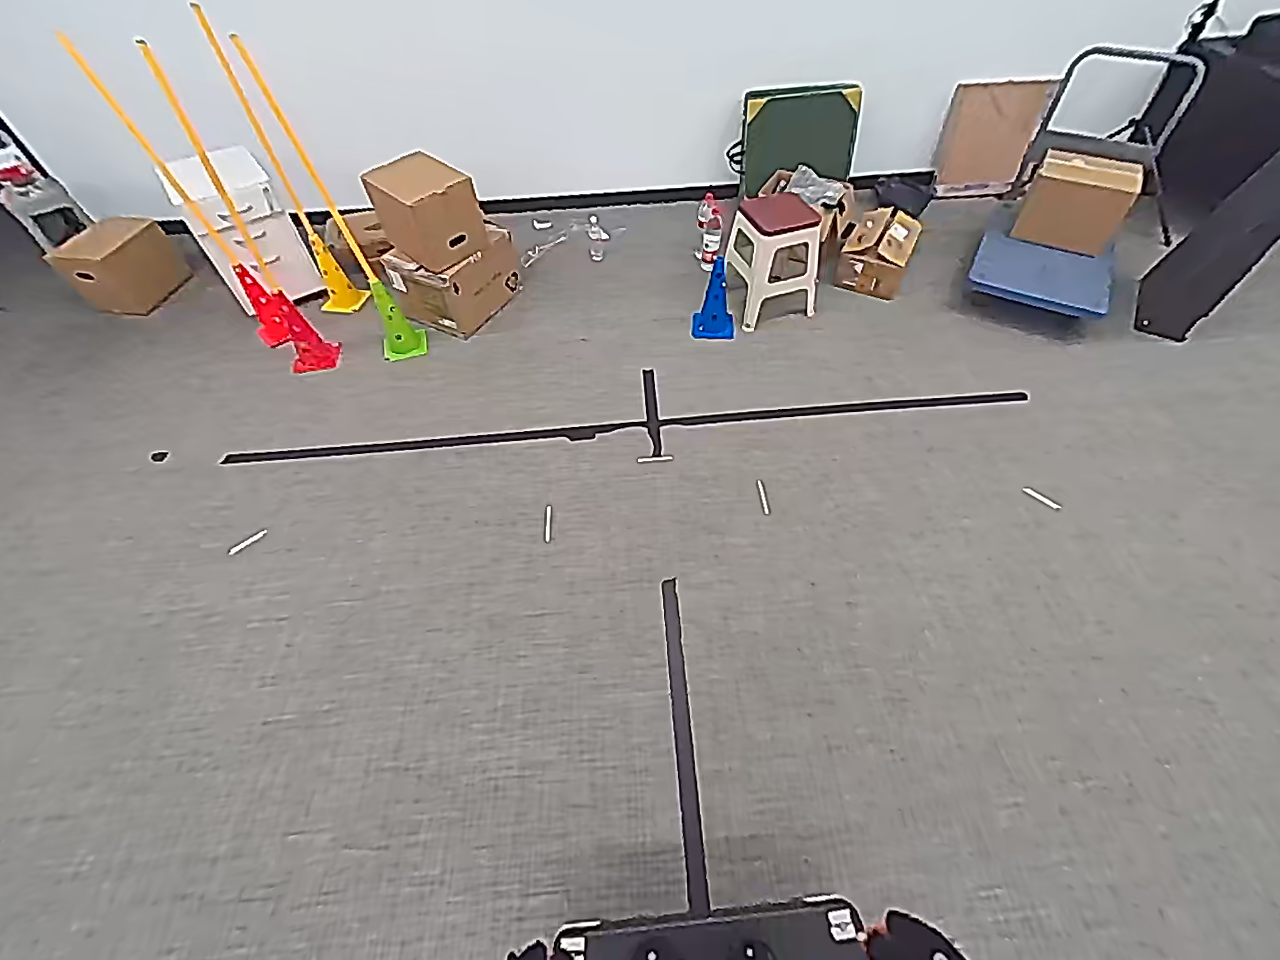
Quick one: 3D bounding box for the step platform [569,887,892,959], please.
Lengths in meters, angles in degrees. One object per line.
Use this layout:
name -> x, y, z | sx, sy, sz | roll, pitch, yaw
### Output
step platform -> 0.187, 1.071, 1.137 | 0.684, 0.204, 0.286 | -5, 52, -3
